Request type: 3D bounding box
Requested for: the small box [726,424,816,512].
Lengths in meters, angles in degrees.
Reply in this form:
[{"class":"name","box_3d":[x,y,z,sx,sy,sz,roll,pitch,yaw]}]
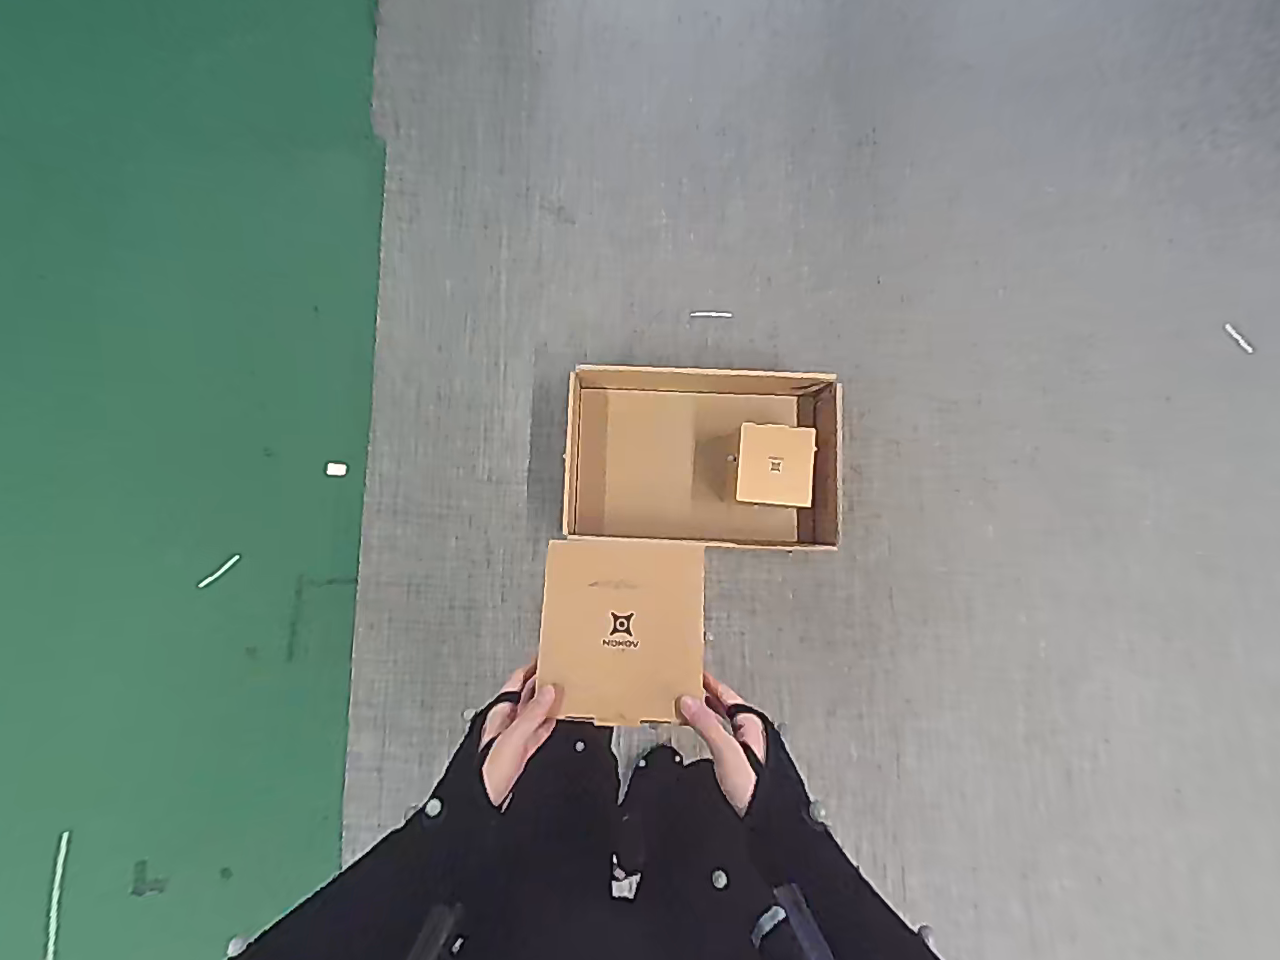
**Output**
[{"class":"small box","box_3d":[0.297,-0.020,1.253,0.168,0.176,0.179,5,83,1]}]
